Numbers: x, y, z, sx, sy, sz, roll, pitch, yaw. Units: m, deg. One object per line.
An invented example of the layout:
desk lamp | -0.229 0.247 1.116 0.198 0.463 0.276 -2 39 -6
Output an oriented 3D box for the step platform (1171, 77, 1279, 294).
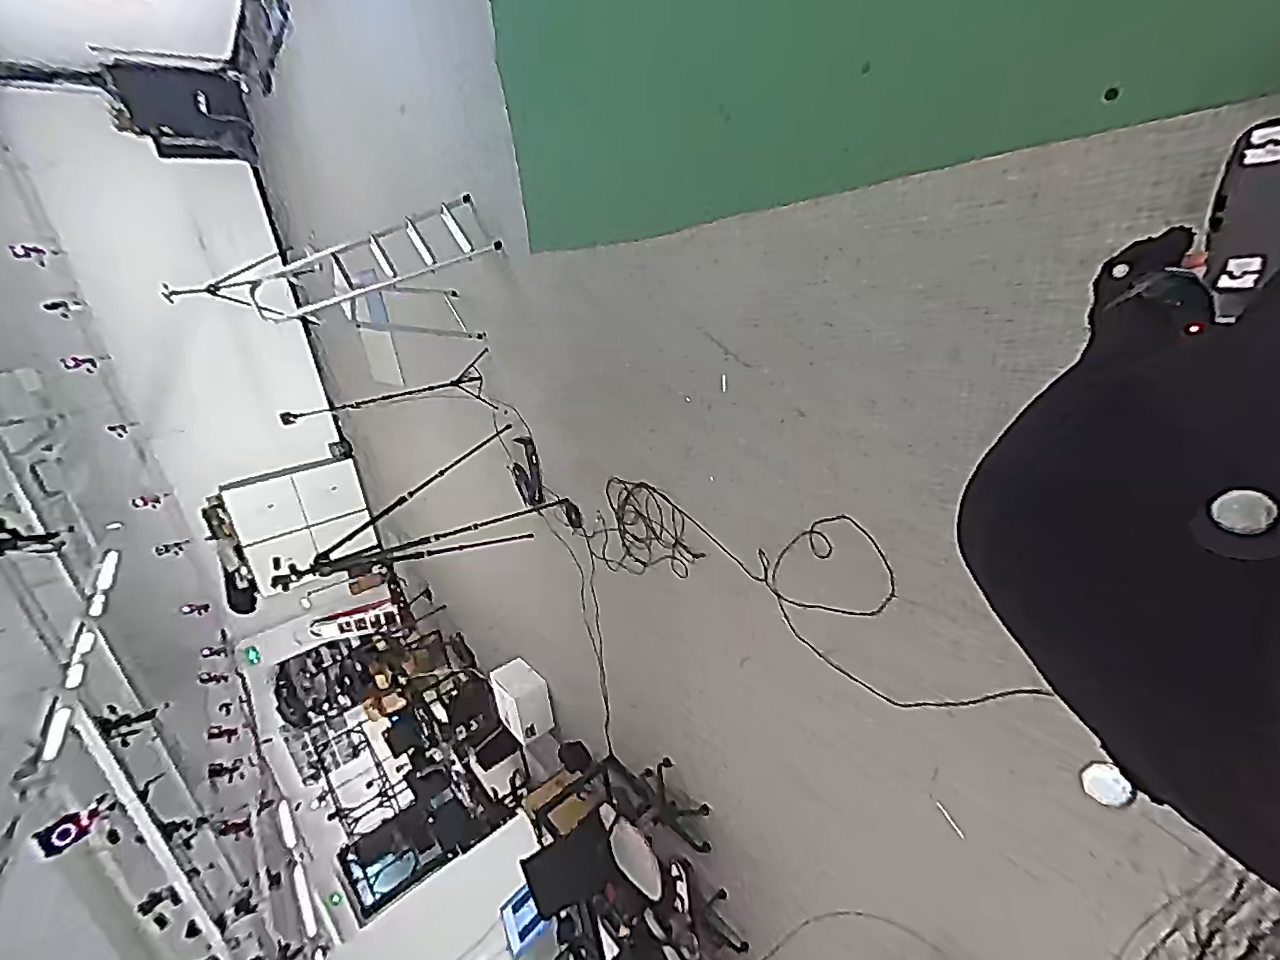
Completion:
step platform | 1.131 -0.404 0.648 0.684 0.204 0.286 16 121 49
